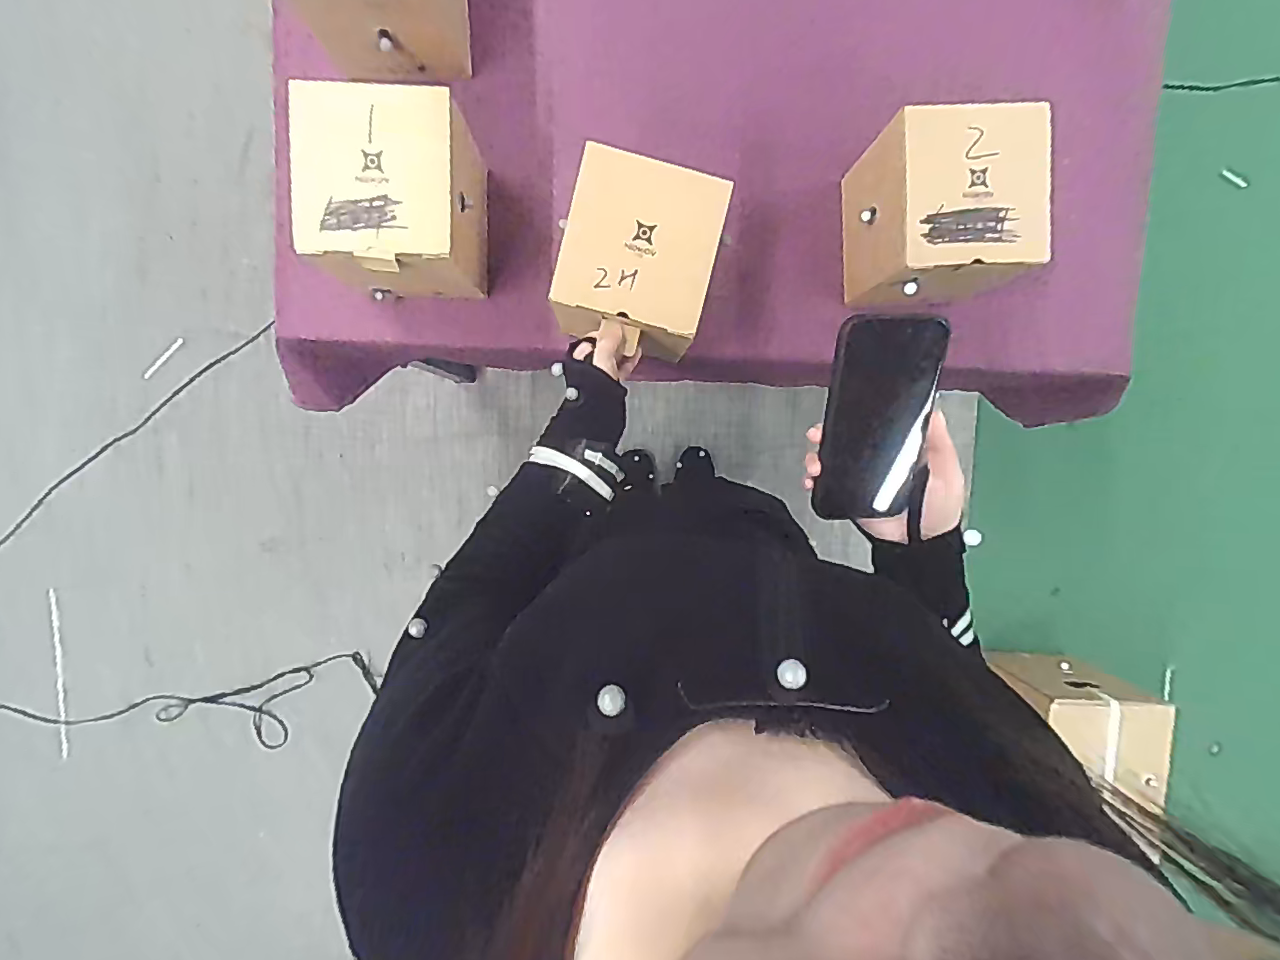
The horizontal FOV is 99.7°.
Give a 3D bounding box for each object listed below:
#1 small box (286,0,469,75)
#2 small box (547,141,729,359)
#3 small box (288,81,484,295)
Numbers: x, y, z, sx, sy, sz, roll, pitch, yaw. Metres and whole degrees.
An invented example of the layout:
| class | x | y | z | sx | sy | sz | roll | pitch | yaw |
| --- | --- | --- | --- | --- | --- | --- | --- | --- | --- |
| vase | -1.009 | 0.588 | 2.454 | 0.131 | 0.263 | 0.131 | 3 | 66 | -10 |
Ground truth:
| class | x | y | z | sx | sy | sz | roll | pitch | yaw |
| --- | --- | --- | --- | --- | --- | --- | --- | --- | --- |
| small box | -0.304 | -0.608 | 0.626 | 0.168 | 0.176 | 0.179 | -2 | 95 | -3 |
| small box | -0.006 | -0.263 | 0.663 | 0.168 | 0.176 | 0.179 | 15 | 93 | -3 |
| small box | -0.288 | -0.330 | 0.647 | 0.168 | 0.176 | 0.179 | 1 | 93 | -3 |
